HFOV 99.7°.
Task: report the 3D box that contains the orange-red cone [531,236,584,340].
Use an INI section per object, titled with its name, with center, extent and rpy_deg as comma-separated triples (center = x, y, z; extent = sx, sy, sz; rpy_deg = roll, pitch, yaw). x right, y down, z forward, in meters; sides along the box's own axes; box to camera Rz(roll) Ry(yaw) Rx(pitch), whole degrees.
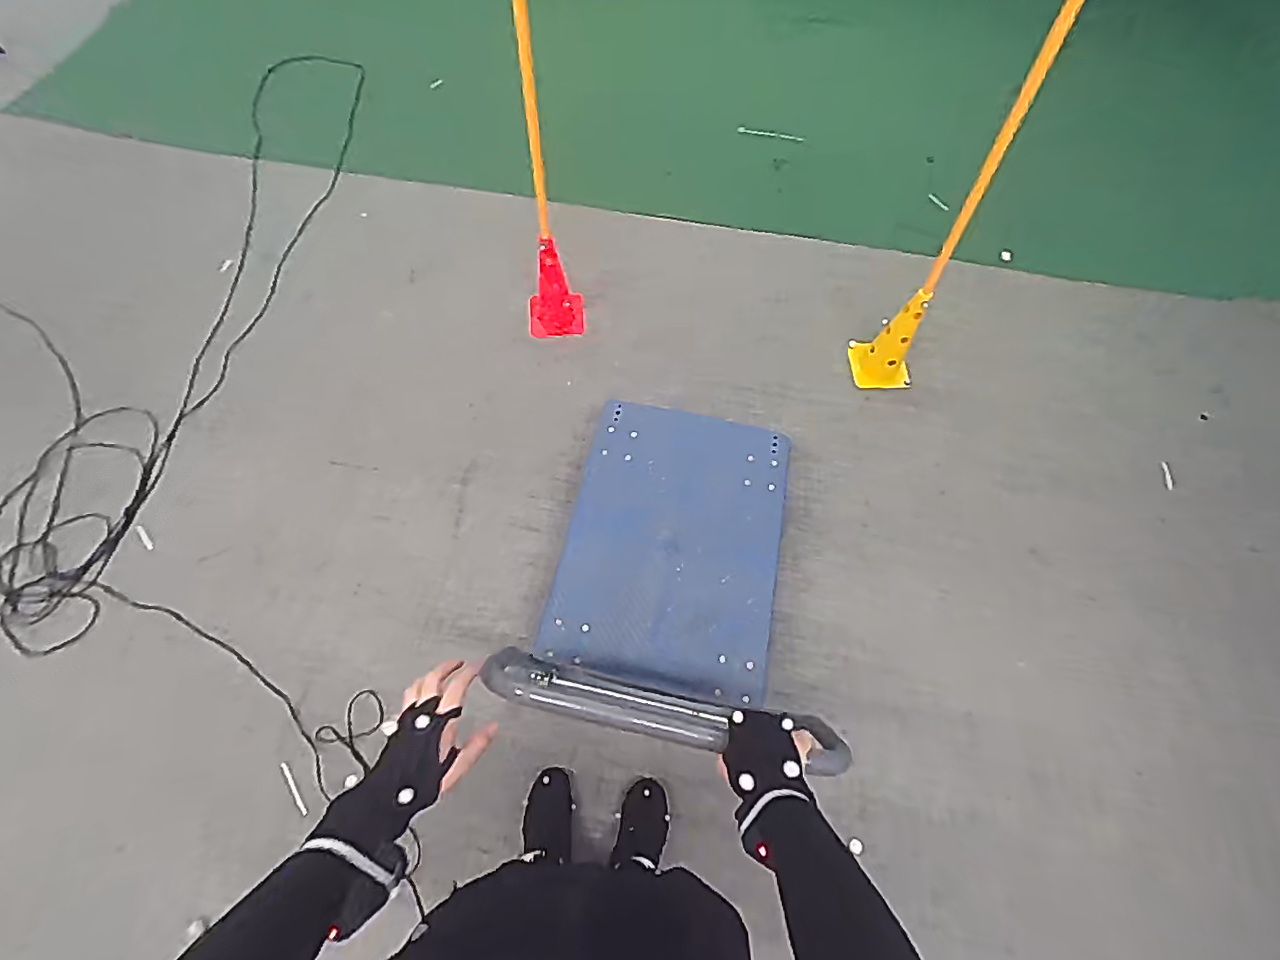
[orange-red cone]
center = -0.304, -0.675, 1.852
extent = 0.199, 0.360, 0.198
rpy_deg = -4, 64, -2
